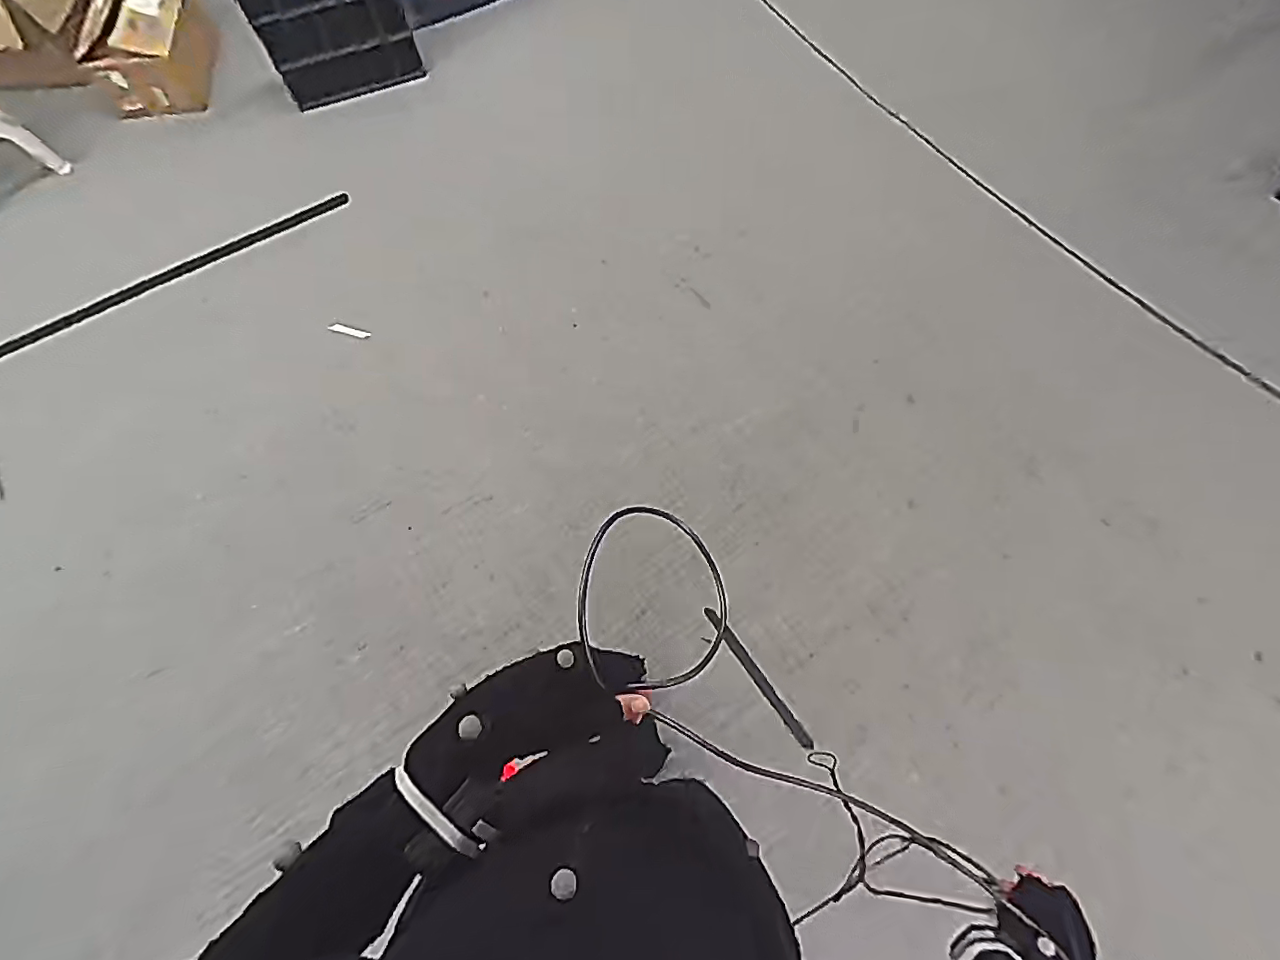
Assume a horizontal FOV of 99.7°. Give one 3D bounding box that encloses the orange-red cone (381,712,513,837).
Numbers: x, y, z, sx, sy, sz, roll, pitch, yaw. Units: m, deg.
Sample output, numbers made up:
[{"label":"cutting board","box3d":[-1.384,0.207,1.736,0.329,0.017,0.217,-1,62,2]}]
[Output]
[{"label":"orange-red cone","box3d":[-0.413,0.596,1.062,0.198,0.360,0.199,-36,72,-13]}]
